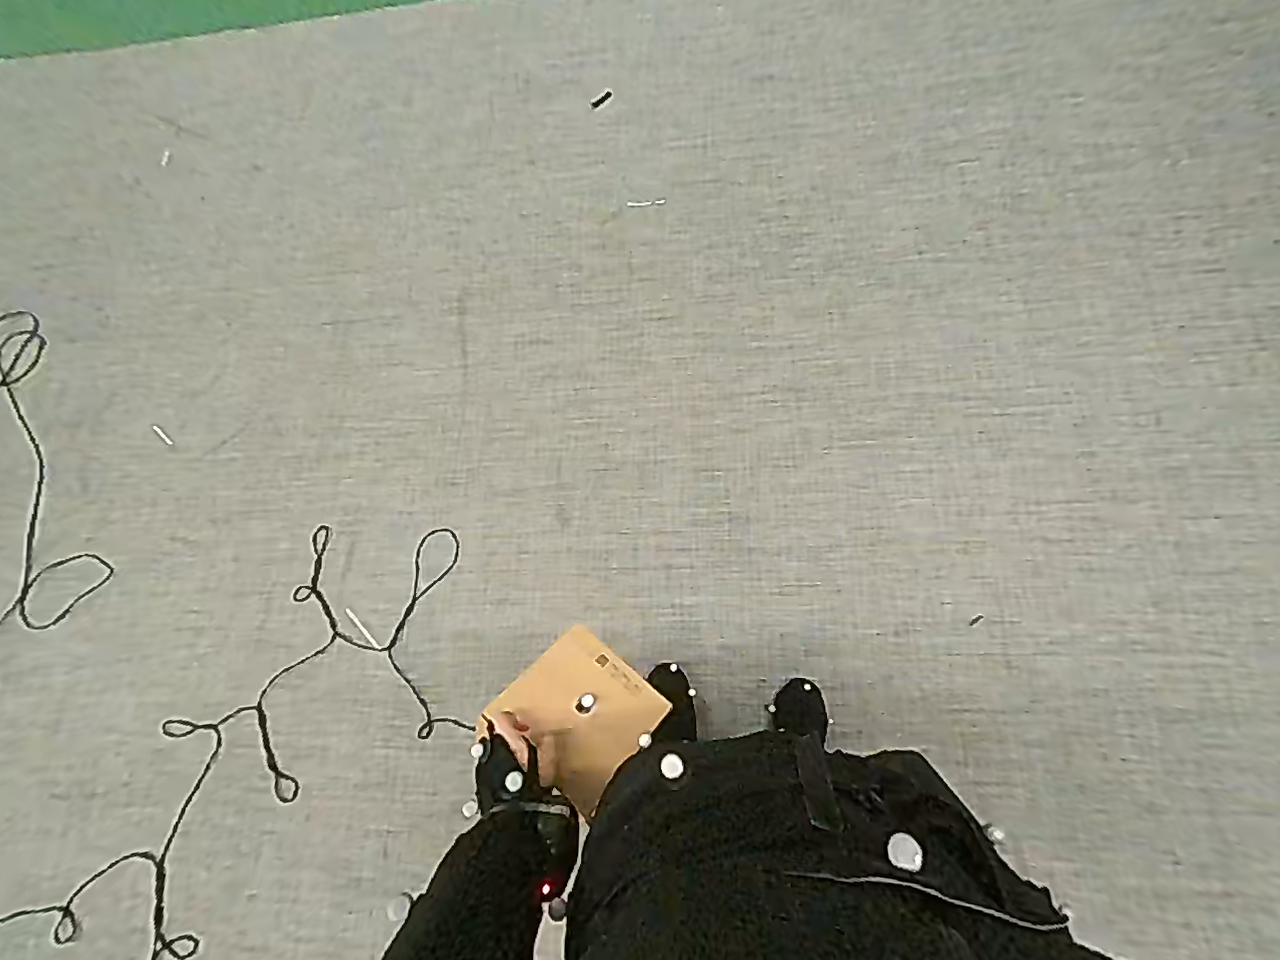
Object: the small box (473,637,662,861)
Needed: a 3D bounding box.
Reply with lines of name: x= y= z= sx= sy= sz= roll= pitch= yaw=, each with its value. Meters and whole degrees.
small box: x=-0.092 y=0.341 z=0.702 sx=0.168 sy=0.179 sz=0.176 roll=35 pitch=45 yaw=16
